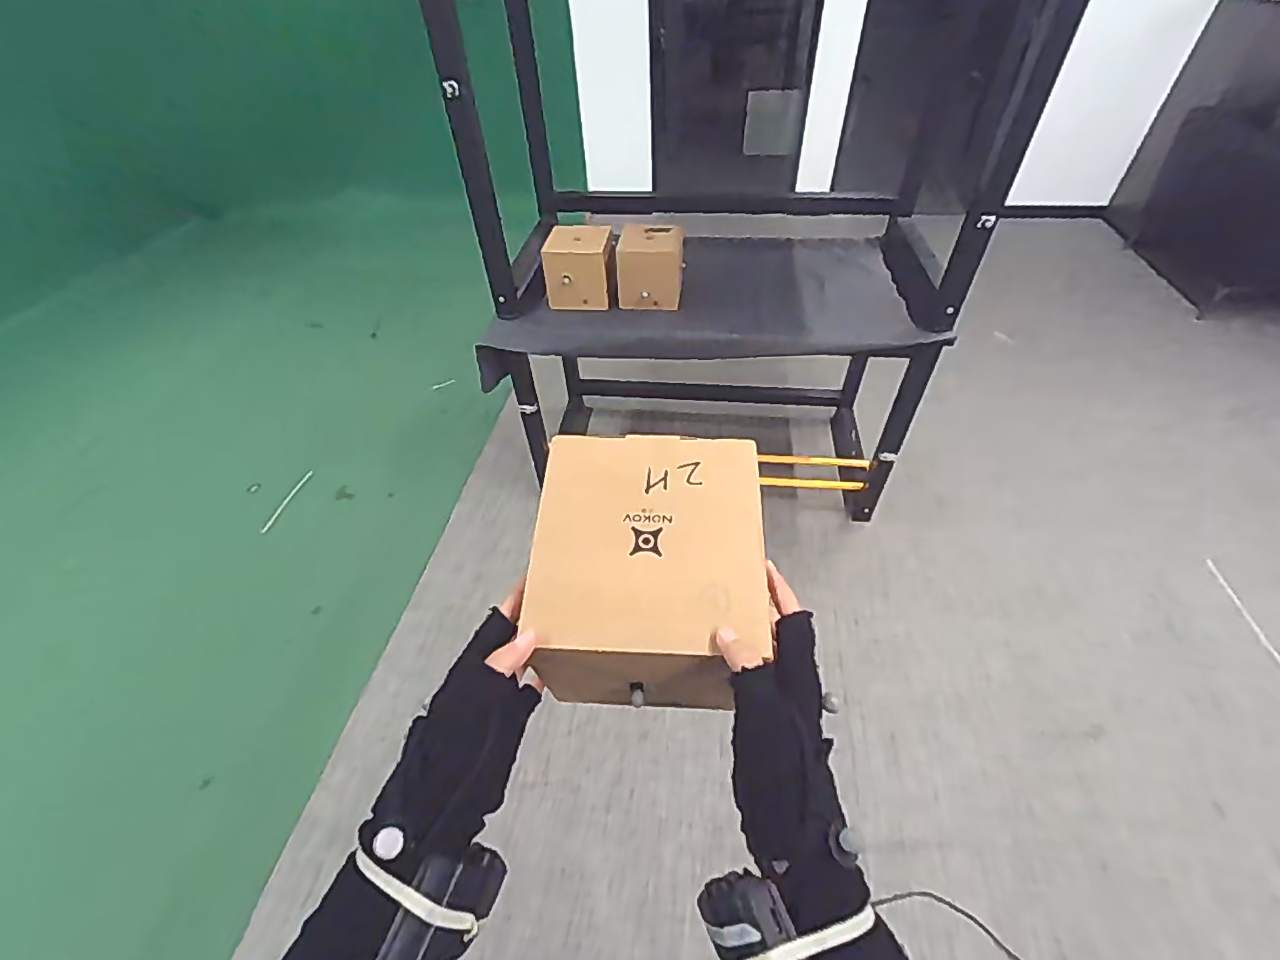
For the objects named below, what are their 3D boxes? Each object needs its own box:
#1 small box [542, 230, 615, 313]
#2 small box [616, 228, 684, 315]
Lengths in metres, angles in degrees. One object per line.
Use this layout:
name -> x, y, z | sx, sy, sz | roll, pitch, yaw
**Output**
small box -> -0.165, -0.582, 1.515 | 0.168, 0.176, 0.179 | 3, 45, 5
small box -> 0.032, -0.580, 1.503 | 0.168, 0.176, 0.179 | 3, 46, 7
